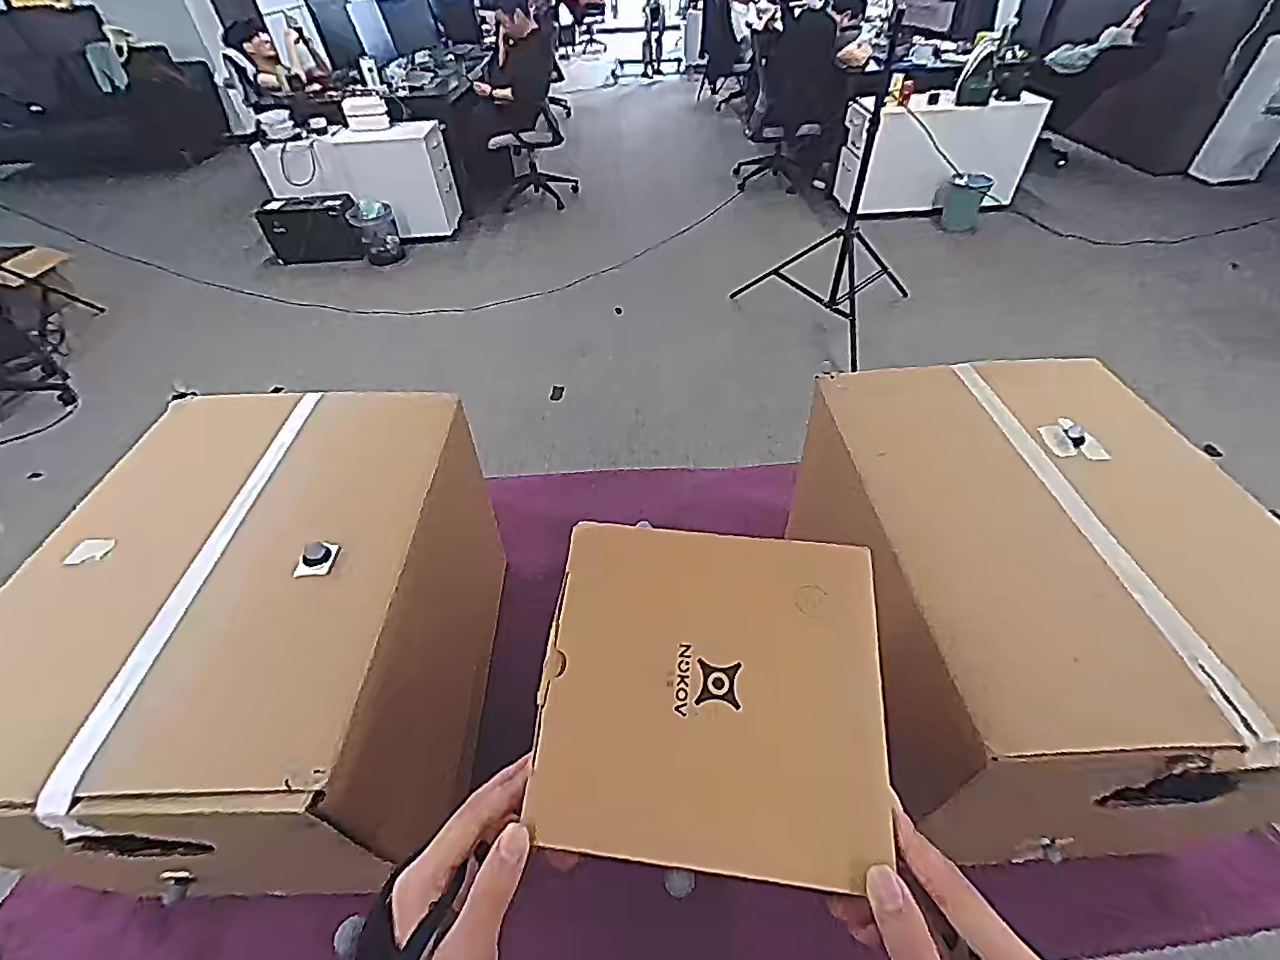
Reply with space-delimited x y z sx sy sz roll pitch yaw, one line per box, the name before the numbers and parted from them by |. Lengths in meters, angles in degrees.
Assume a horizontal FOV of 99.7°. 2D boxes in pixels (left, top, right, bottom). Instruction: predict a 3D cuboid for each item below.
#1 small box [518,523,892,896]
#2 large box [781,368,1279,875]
small box | 0.042 0.141 0.355 0.179 0.176 0.168 4 63 8
large box | 0.356 0.130 0.566 0.320 0.320 0.408 -3 44 0
